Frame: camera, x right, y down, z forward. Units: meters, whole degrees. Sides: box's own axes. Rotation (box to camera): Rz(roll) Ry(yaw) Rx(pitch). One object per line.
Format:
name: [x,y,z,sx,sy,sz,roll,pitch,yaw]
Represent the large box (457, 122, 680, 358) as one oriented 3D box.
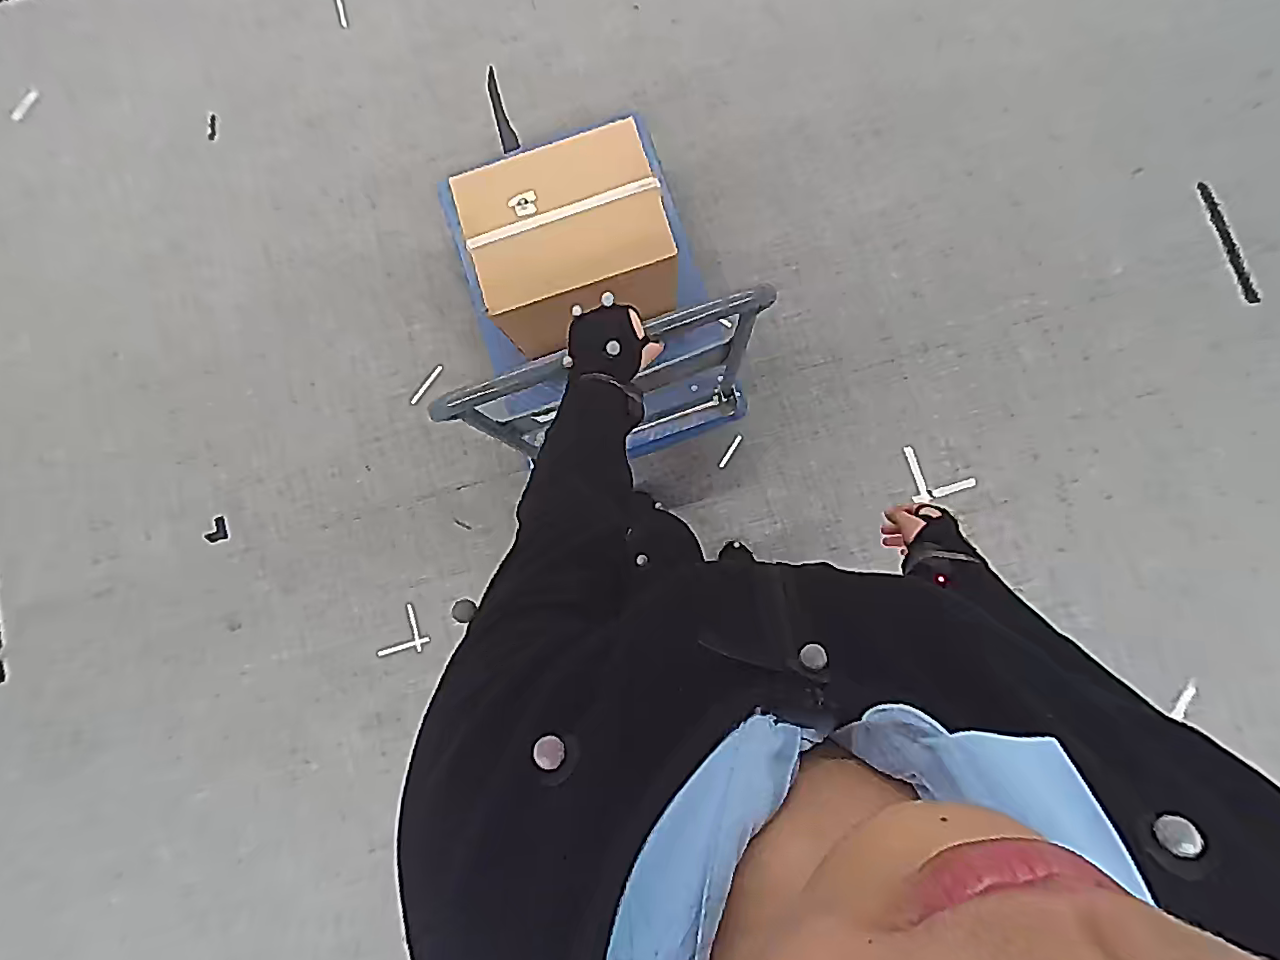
large box: [-0.142,-0.528,1.262,0.408,0.320,0.320,-18,84,4]
